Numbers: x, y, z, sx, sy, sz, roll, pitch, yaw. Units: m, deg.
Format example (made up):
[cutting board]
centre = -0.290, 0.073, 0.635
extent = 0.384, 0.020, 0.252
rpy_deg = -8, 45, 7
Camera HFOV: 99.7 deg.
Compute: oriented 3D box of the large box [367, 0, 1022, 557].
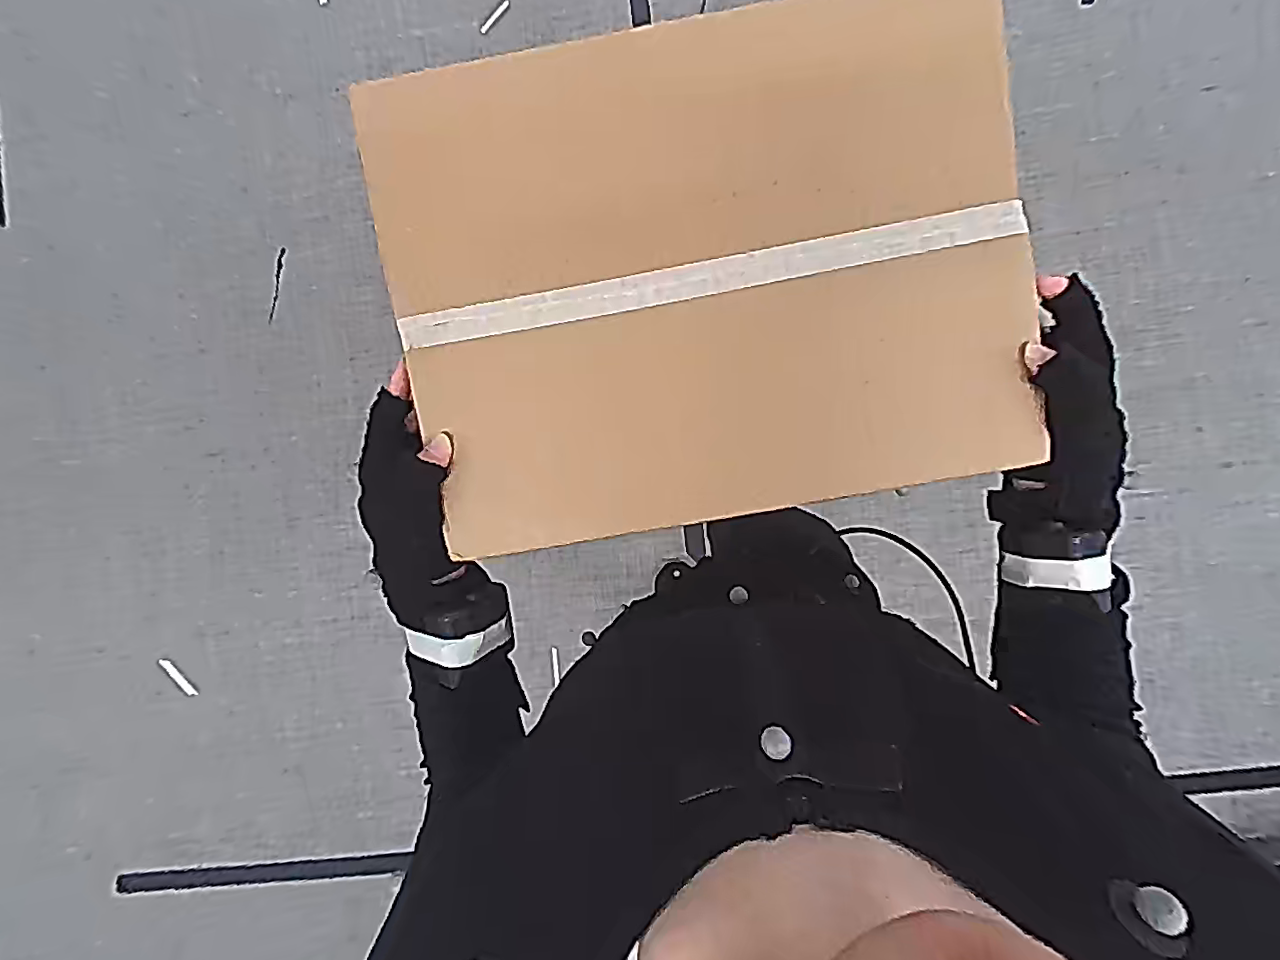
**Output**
[large box]
centre = 0.045, -0.145, 0.509
extent = 0.408, 0.320, 0.320
rpy_deg = -10, 95, 2
